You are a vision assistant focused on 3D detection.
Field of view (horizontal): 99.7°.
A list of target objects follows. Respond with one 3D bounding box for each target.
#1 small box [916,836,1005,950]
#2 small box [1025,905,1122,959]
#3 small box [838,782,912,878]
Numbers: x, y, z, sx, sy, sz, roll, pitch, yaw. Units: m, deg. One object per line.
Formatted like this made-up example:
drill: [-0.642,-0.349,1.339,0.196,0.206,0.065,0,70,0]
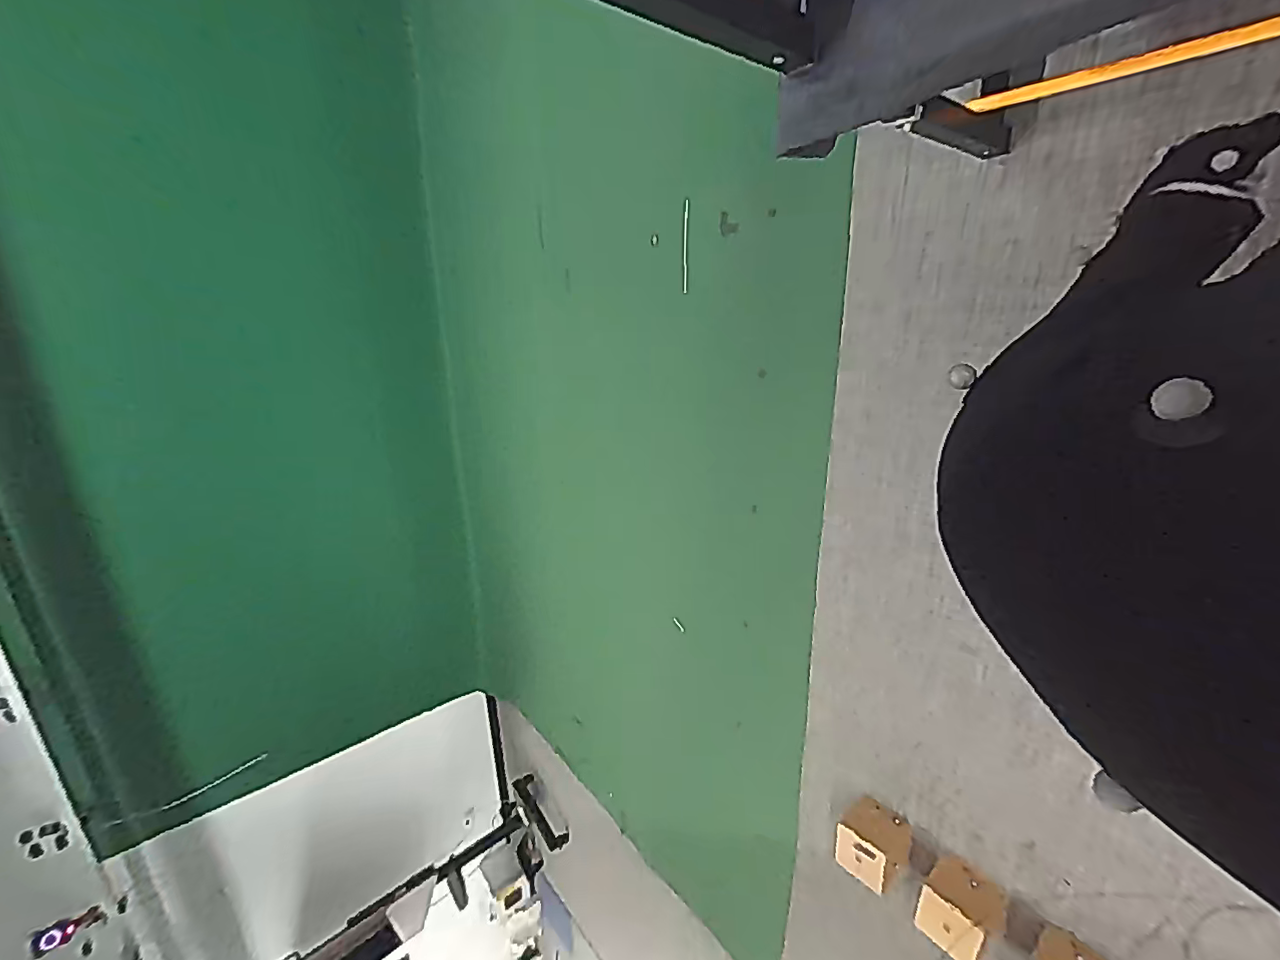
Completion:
small box: [0.961,1.228,1.620,0.168,0.176,0.179,22,119,47]
small box: [1.128,1.290,1.419,0.168,0.176,0.179,19,117,47]
small box: [0.792,1.166,1.819,0.168,0.176,0.179,18,117,49]
